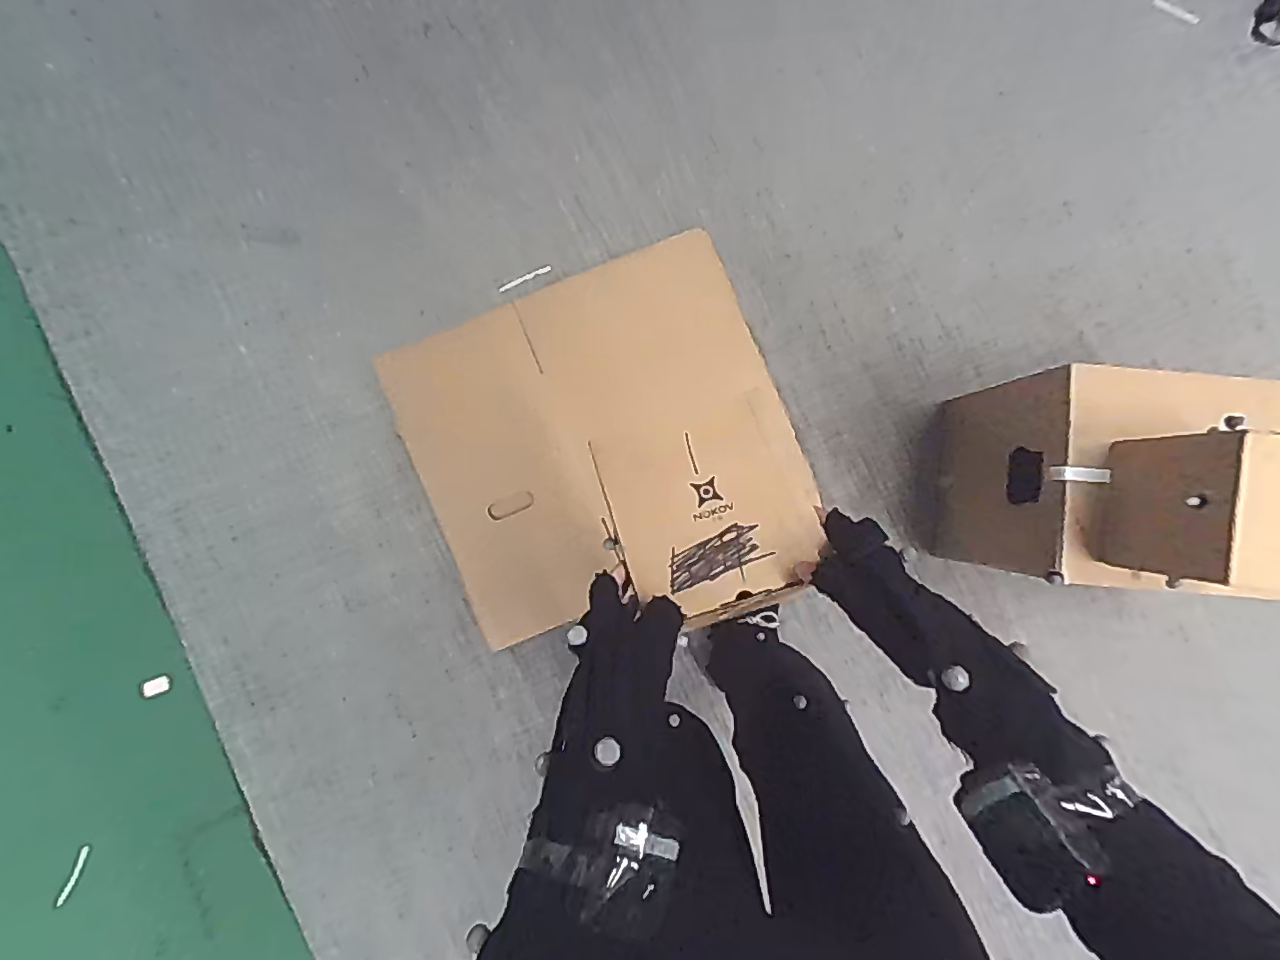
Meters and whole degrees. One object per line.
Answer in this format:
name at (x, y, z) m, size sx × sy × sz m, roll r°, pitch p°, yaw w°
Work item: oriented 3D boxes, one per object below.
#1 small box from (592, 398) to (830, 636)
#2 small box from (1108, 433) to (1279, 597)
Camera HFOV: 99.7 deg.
small box at (0.062, 0.050, 0.546) m, size 0.168 × 0.176 × 0.179 m, roll -18°, pitch 70°, yaw -3°
small box at (0.726, 0.046, 0.662) m, size 0.168 × 0.176 × 0.179 m, roll 6°, pitch 89°, yaw 1°
